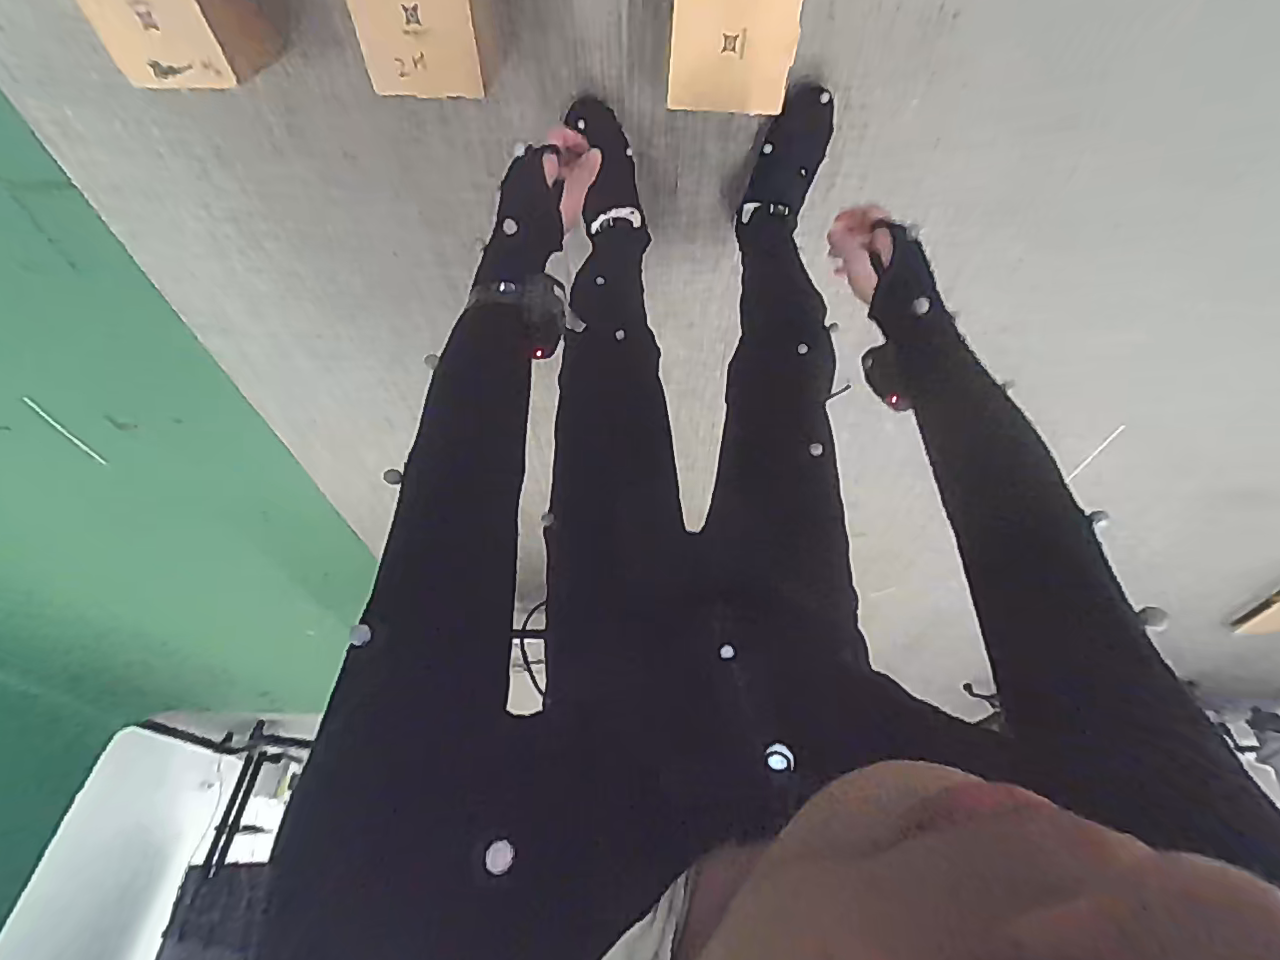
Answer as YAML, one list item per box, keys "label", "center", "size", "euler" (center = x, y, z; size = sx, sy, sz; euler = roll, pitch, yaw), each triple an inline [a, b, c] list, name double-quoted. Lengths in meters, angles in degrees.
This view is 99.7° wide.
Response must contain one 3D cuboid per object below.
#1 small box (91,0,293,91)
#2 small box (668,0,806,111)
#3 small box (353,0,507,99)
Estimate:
- label: "small box"
  center: [-0.659, -0.701, 0.793]
  size: [0.168, 0.176, 0.179]
  euler: [2, 142, 2]
- label: "small box"
  center: [0.133, -0.670, 0.794]
  size: [0.179, 0.176, 0.168]
  euler: [1, 143, -1]
- label: "small box"
  center: [-0.301, -0.689, 0.789]
  size: [0.168, 0.176, 0.179]
  euler: [2, 143, 1]
